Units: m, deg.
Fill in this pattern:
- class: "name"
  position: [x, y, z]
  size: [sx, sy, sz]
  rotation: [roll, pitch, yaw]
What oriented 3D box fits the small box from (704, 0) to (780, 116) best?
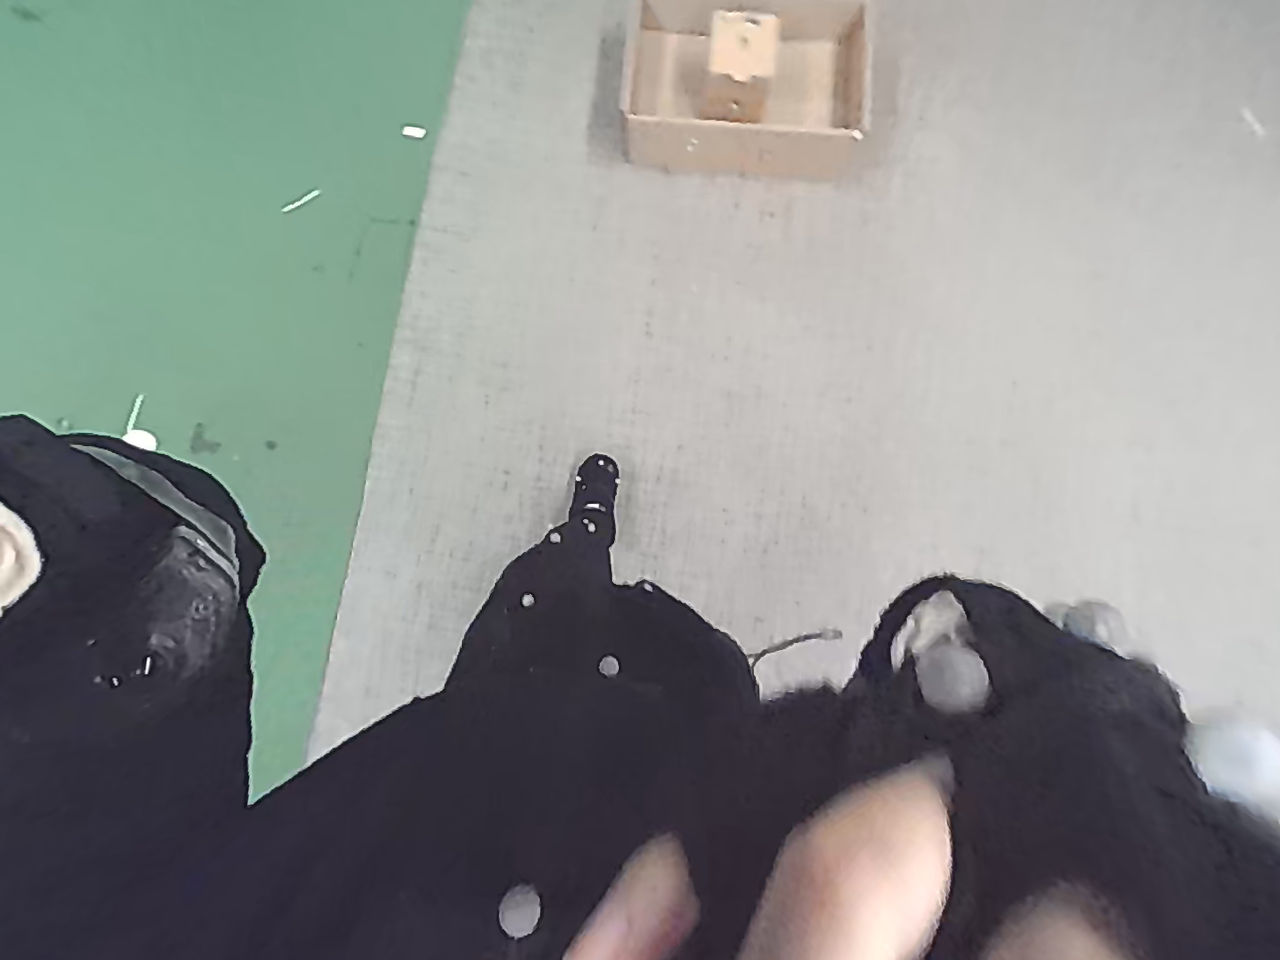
- class: "small box"
  position: [0.263, -1.100, 1.420]
  size: [0.168, 0.176, 0.179]
  rotation: [6, 85, 1]
